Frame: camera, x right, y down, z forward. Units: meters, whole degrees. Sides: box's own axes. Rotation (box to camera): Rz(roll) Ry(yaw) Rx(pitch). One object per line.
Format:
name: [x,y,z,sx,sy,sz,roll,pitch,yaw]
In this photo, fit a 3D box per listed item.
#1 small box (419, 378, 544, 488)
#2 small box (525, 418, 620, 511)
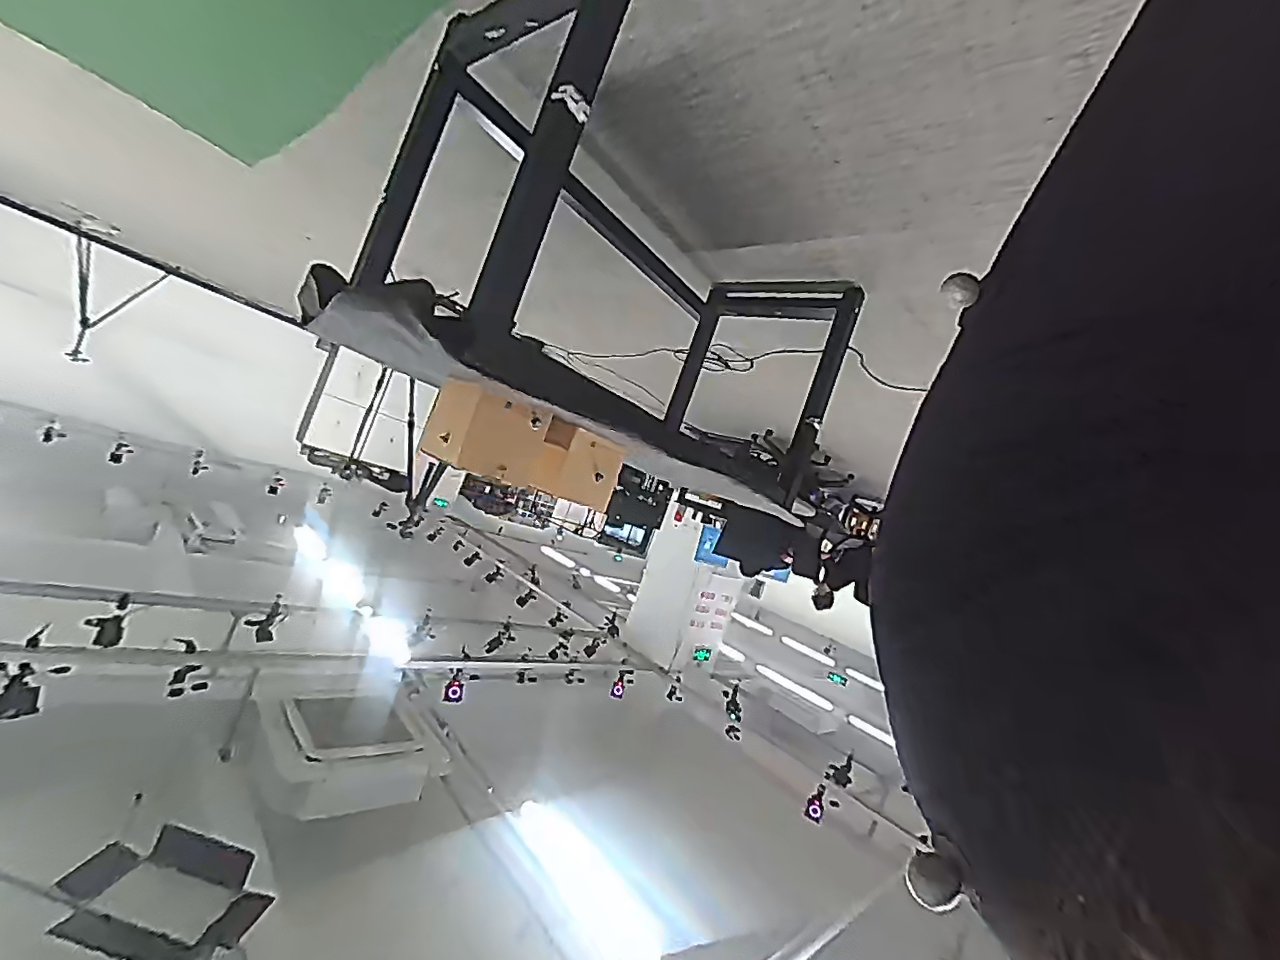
small box: [-0.318,-0.098,1.106,0.179,0.176,0.168,19,178,45]
small box: [-0.167,-0.040,1.284,0.179,0.176,0.168,19,178,44]
